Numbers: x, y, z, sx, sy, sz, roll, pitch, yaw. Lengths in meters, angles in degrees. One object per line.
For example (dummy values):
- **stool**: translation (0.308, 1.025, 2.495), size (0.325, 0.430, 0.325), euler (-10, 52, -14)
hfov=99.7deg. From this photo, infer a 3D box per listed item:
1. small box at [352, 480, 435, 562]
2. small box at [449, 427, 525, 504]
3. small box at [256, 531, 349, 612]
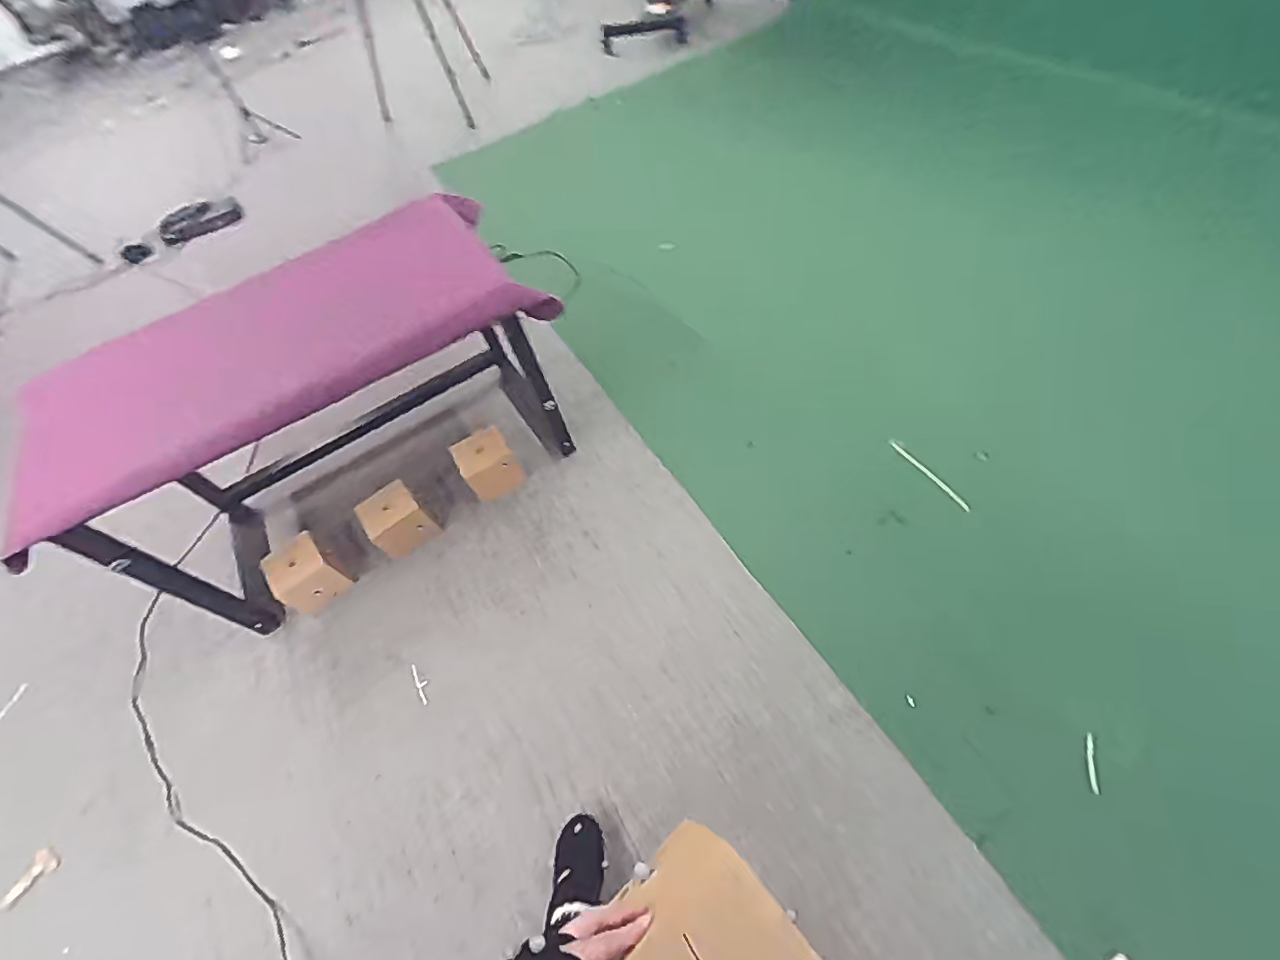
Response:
- **small box**: translation (-0.811, 0.138, 1.803), size (0.179, 0.176, 0.168), euler (-37, 57, -14)
- **small box**: translation (-0.528, -0.045, 1.880), size (0.179, 0.176, 0.168), euler (-30, 56, -11)
- **small box**: translation (-1.075, 0.302, 1.735), size (0.168, 0.176, 0.179), euler (-38, 58, -16)
